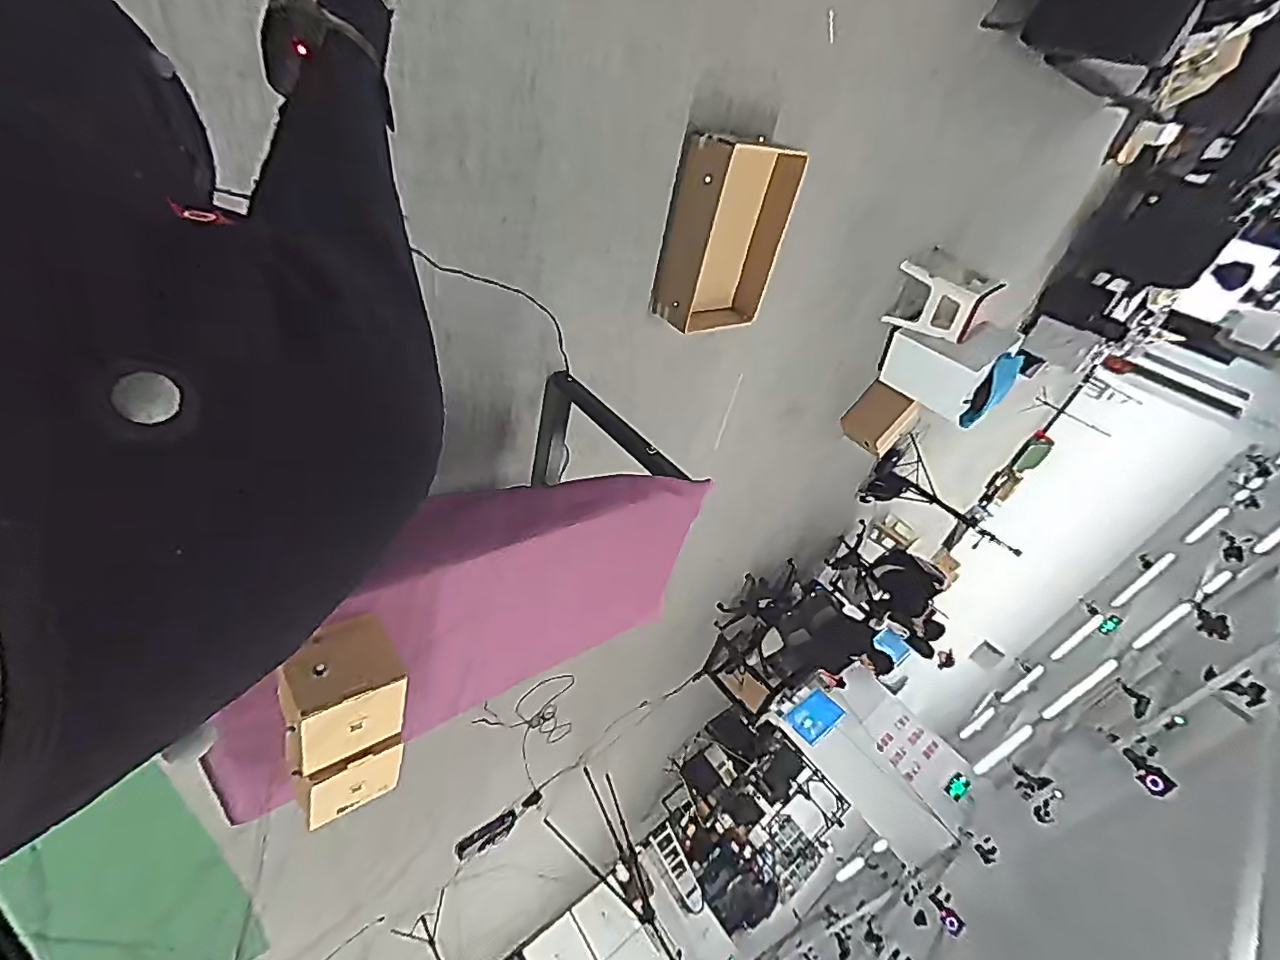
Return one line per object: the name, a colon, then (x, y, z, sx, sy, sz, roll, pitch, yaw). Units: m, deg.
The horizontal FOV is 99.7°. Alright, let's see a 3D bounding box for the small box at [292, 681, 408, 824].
small box: (-0.592, 0.538, 1.099, 0.168, 0.176, 0.179, -11, 133, -43)
